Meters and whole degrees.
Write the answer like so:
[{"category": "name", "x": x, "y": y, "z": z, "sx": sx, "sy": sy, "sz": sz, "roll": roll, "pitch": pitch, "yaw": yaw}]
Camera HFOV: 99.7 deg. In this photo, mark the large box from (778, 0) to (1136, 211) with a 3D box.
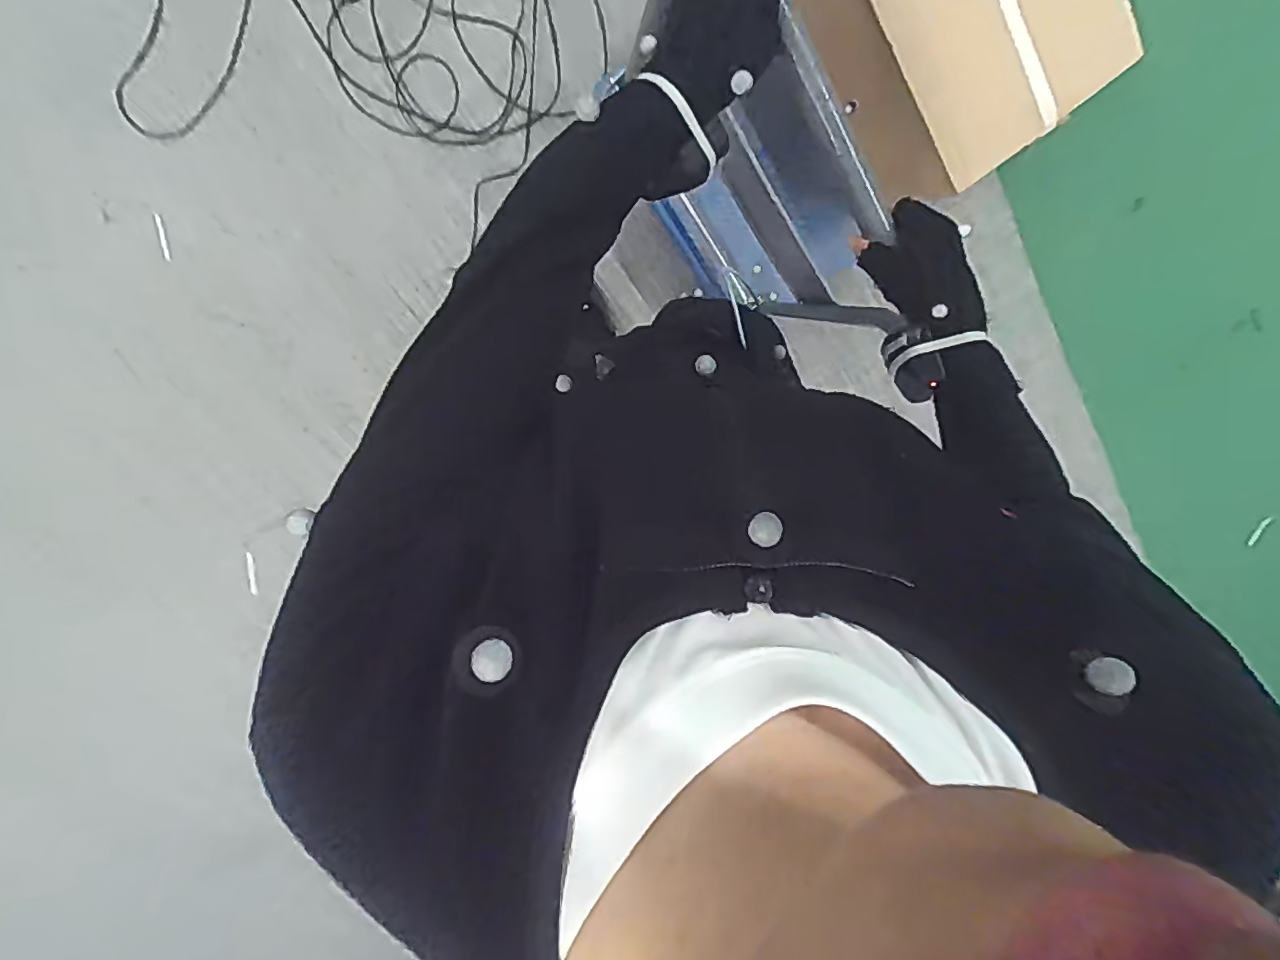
[{"category": "large box", "x": 0.502, "y": -0.743, "z": 0.919, "sx": 0.320, "sy": 0.320, "sz": 0.408, "roll": -36, "pitch": 108, "yaw": 10}]
